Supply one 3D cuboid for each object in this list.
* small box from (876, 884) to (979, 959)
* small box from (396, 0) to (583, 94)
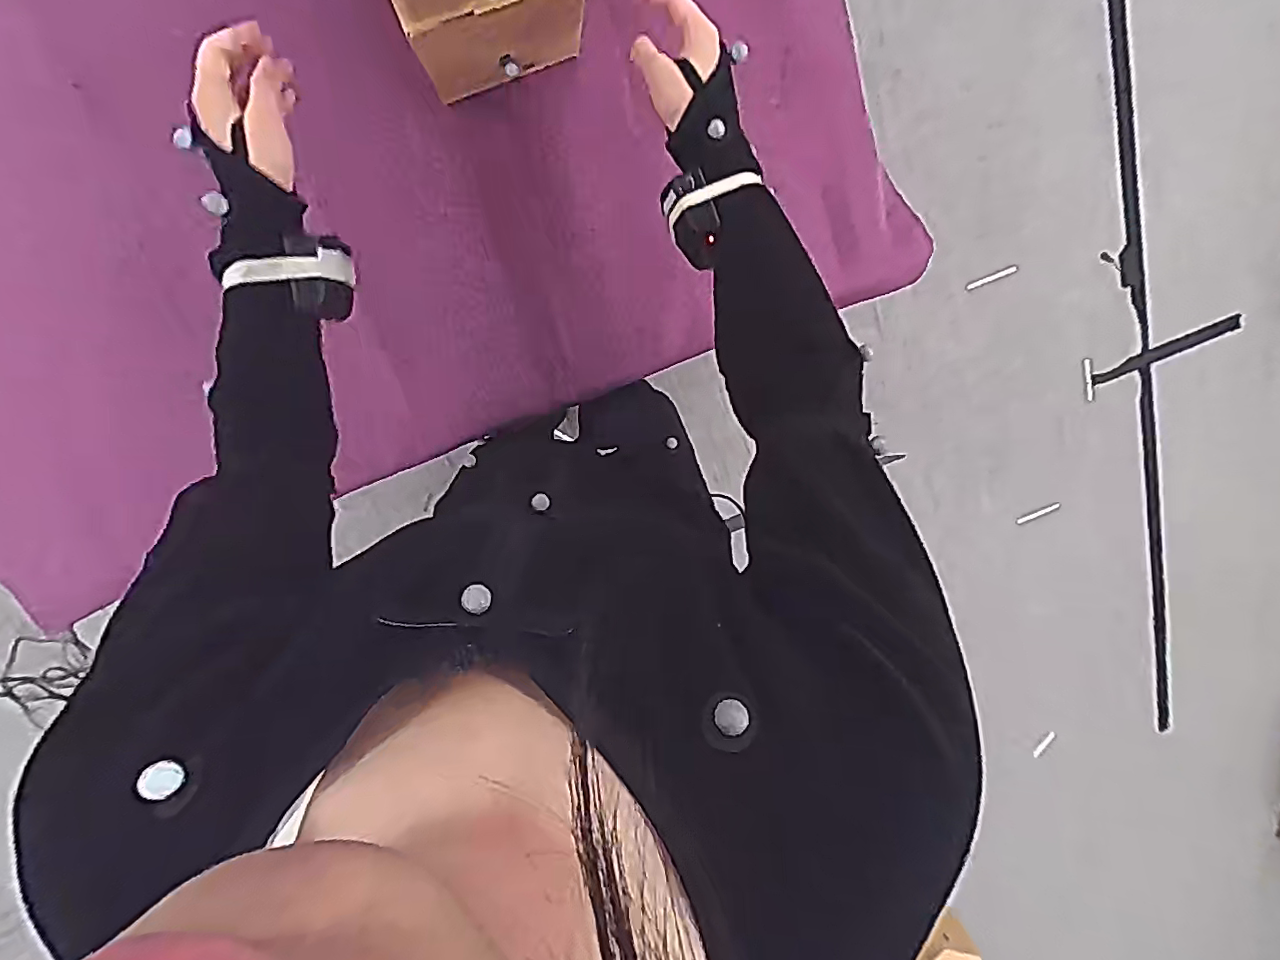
[{"bbox_3d":[0.865,1.374,1.640,0.179,0.176,0.168,26,102,-17],"label":"small box"},{"bbox_3d":[-0.160,-0.507,0.501,0.168,0.176,0.179,-22,110,-1],"label":"small box"}]
